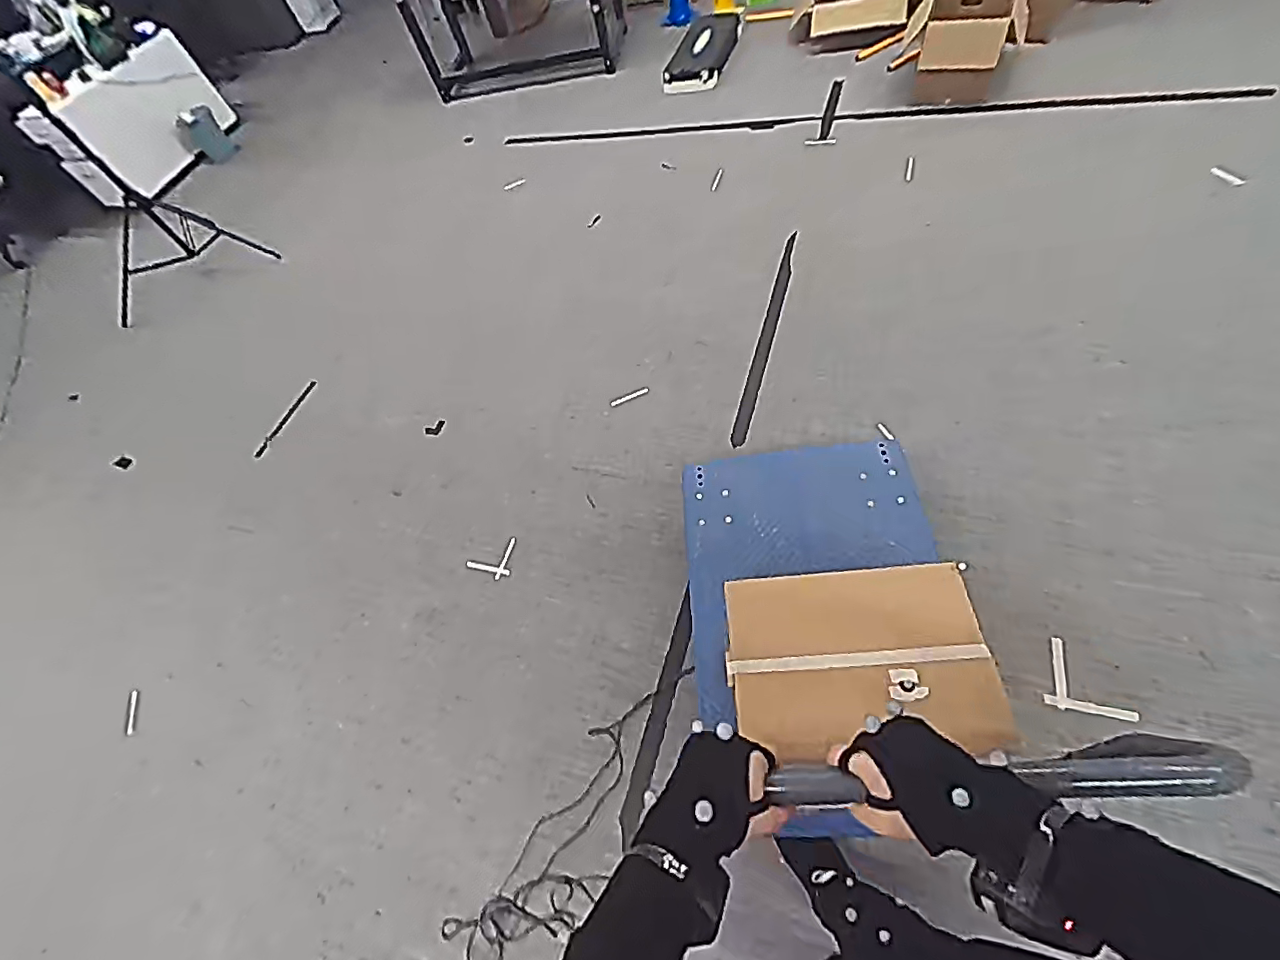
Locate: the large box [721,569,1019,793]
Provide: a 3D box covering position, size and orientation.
[{"bbox_3d":[0.372,0.386,1.001,0.408,0.320,0.320,-6,57,9],"label":"large box"}]
